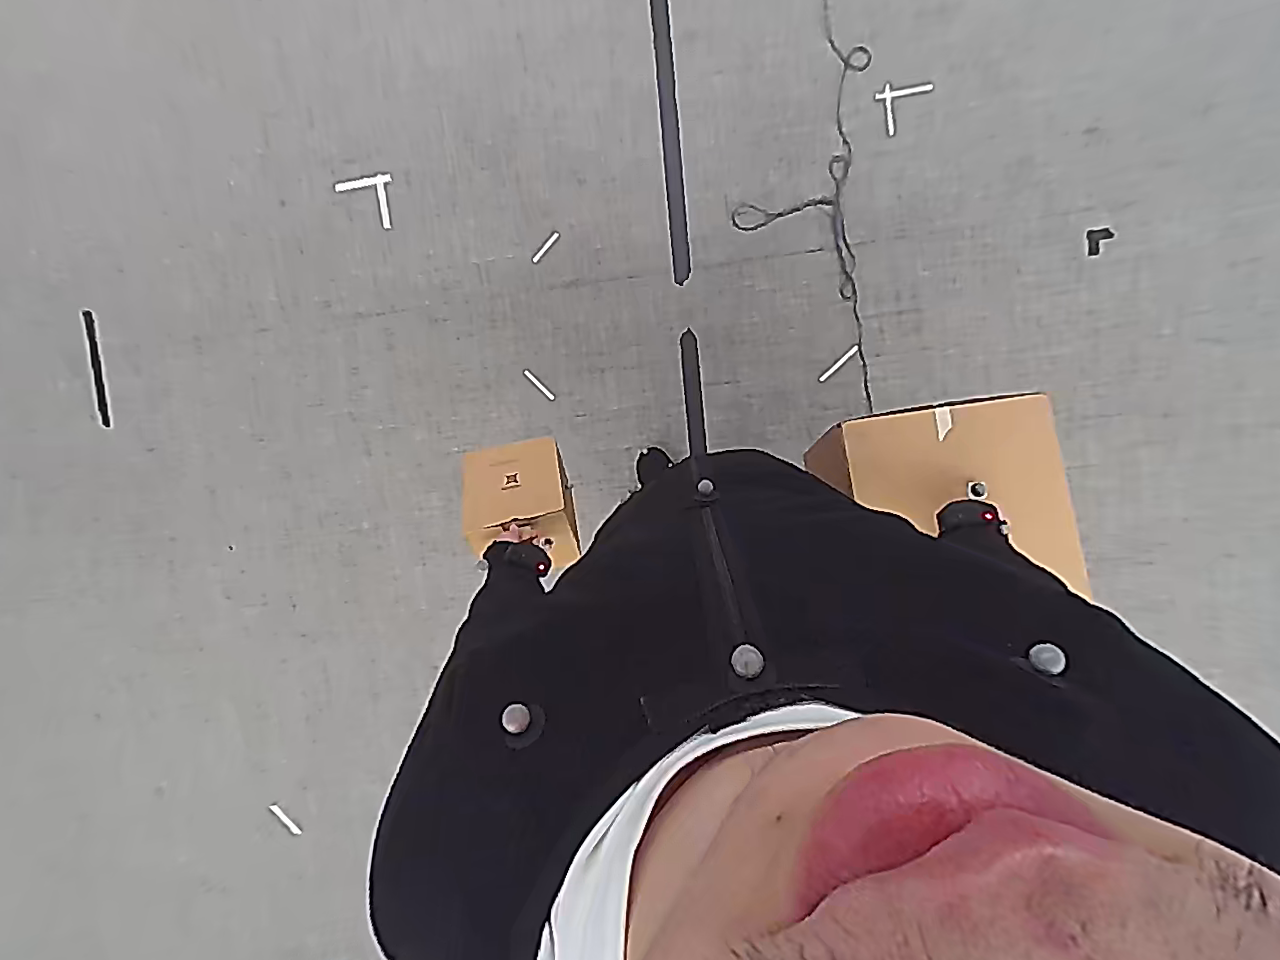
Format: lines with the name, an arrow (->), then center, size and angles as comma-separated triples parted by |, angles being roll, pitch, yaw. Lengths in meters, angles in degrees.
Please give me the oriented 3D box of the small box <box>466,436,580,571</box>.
small box -> -0.212, 0.051, 0.992 | 0.168, 0.176, 0.179 | -12, 50, -4
